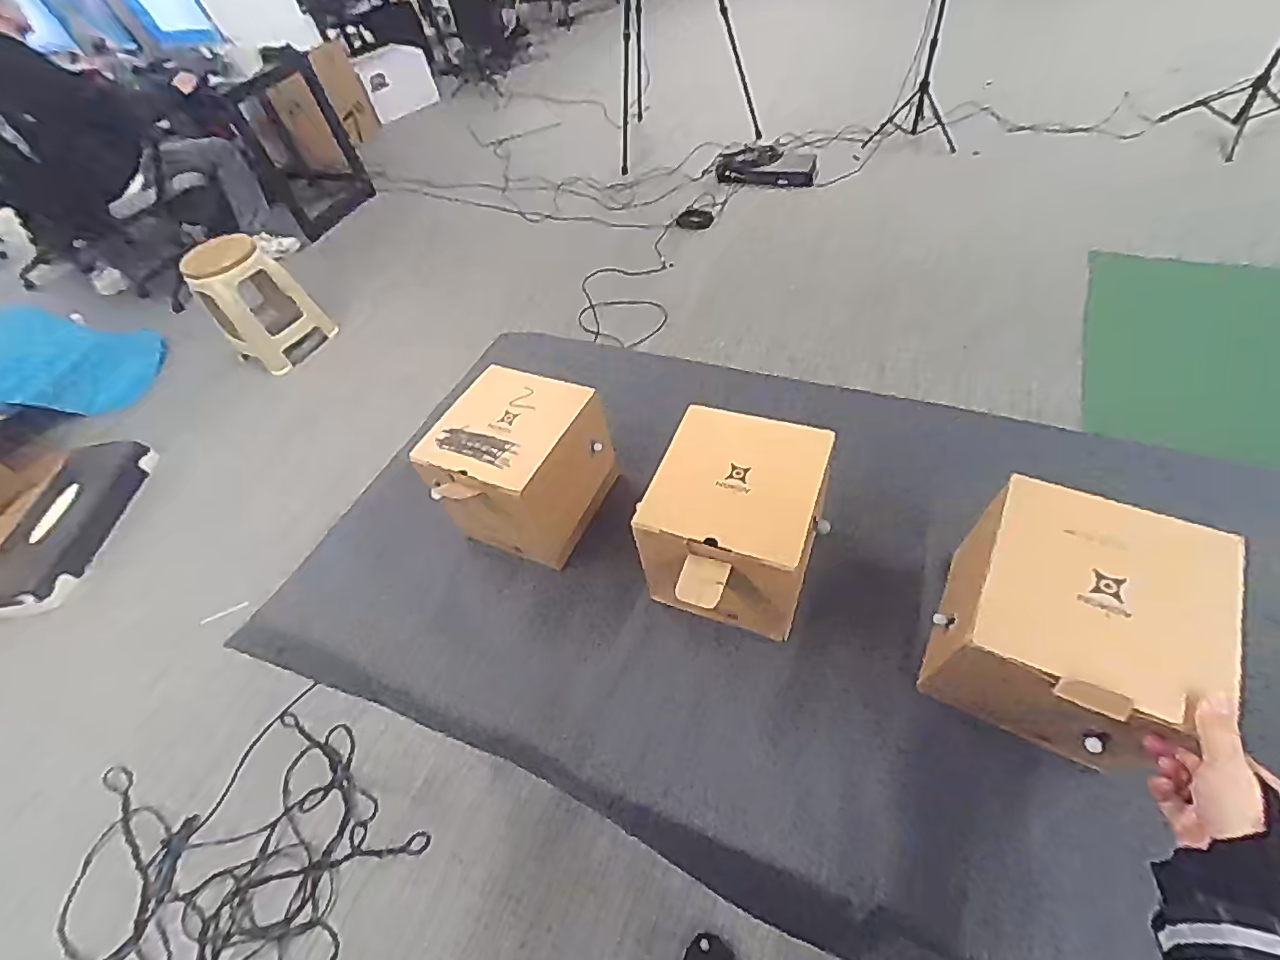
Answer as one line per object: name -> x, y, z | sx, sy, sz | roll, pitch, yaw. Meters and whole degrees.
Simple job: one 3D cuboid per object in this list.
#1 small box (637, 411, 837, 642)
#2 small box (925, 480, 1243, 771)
small box -> 0.112, 0.053, 0.615 | 0.168, 0.176, 0.179 | 14, 56, 20
small box -> 0.380, 0.136, 0.491 | 0.168, 0.176, 0.179 | 20, 62, 22
